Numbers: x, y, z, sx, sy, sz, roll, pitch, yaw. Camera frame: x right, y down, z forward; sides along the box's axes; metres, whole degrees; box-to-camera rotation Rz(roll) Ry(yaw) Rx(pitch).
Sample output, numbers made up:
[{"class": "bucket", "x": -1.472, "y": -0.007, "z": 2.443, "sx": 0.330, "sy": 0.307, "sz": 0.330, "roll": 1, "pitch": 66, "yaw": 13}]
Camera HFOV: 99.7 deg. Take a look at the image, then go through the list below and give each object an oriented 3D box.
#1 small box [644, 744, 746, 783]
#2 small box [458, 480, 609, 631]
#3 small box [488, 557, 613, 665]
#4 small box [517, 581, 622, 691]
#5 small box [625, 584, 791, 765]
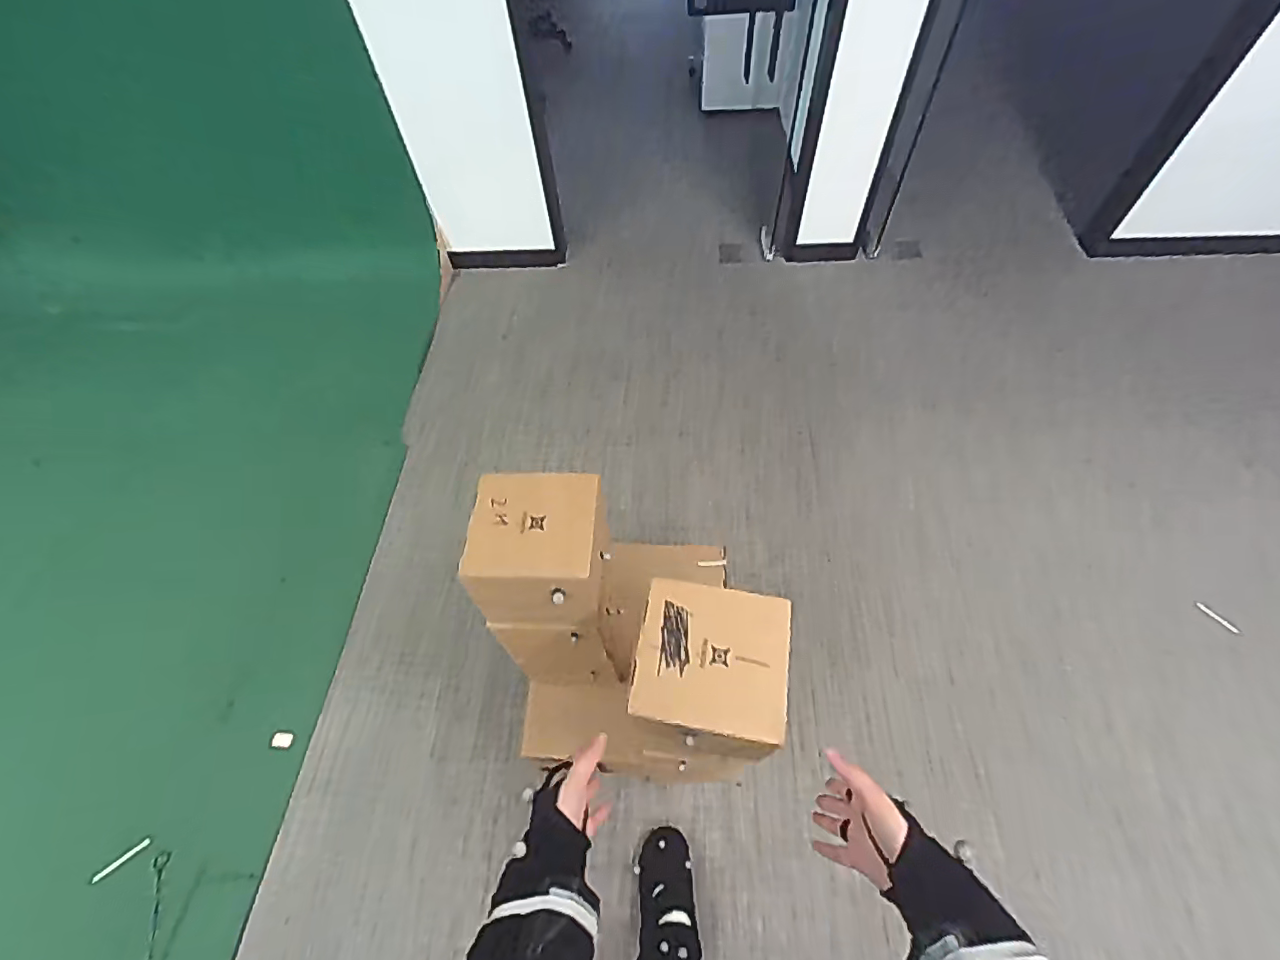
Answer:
[{"class": "small box", "x": 0.098, "y": 0.428, "z": 0.970, "sx": 0.168, "sy": 0.176, "sz": 0.179, "roll": 4, "pitch": 56, "yaw": 5}, {"class": "small box", "x": -0.142, "y": 0.116, "z": 0.804, "sx": 0.179, "sy": 0.176, "sz": 0.168, "roll": 0, "pitch": 54, "yaw": 4}, {"class": "small box", "x": -0.143, "y": 0.215, "z": 0.937, "sx": 0.179, "sy": 0.176, "sz": 0.168, "roll": 0, "pitch": 54, "yaw": 2}, {"class": "small box", "x": -0.128, "y": 0.310, "z": 1.067, "sx": 0.179, "sy": 0.176, "sz": 0.168, "roll": -2, "pitch": 54, "yaw": 3}, {"class": "small box", "x": 0.085, "y": 0.253, "z": 0.691, "sx": 0.179, "sy": 0.176, "sz": 0.168, "roll": 9, "pitch": 57, "yaw": 7}]
